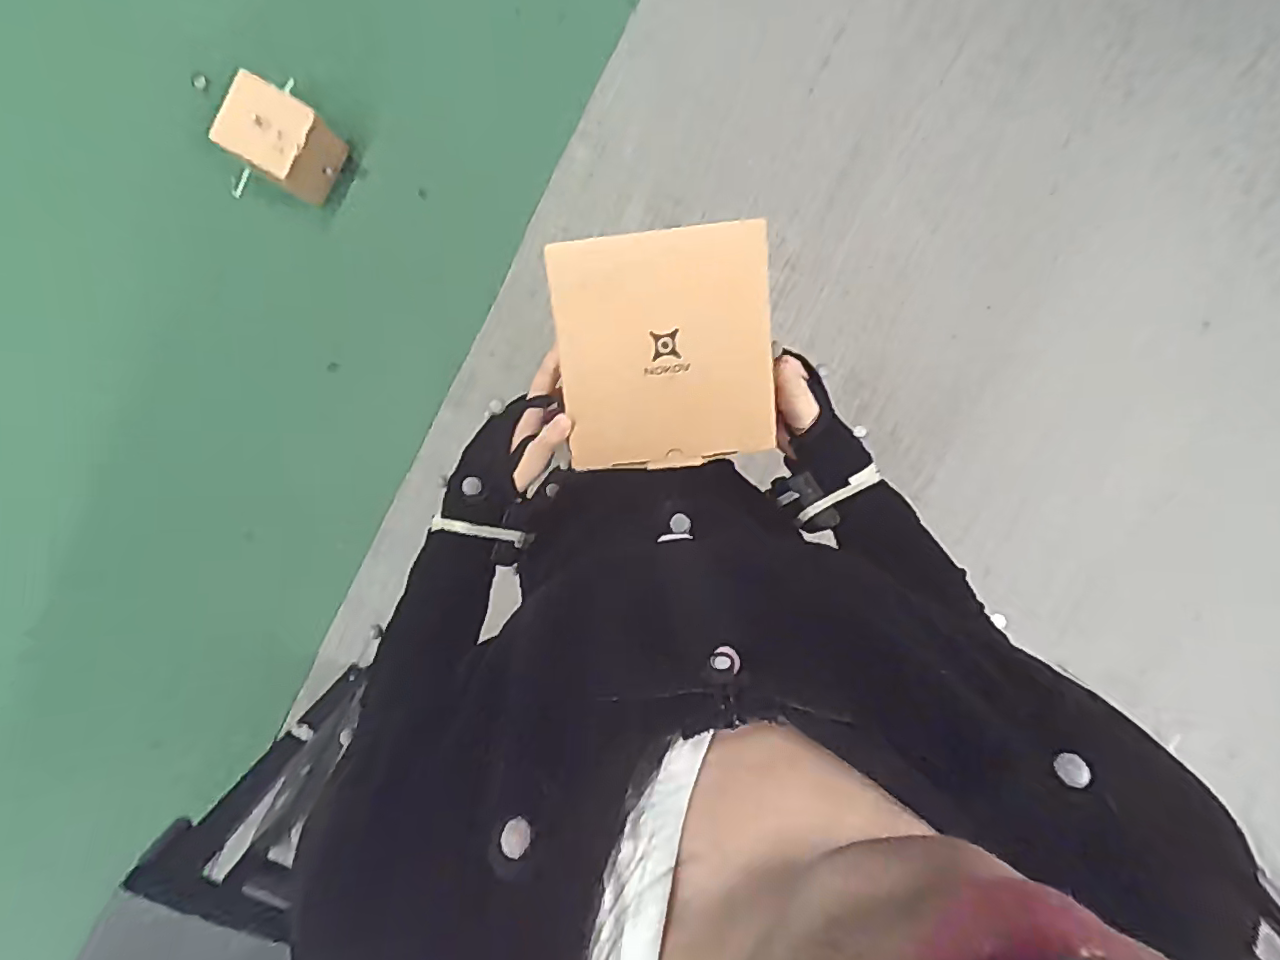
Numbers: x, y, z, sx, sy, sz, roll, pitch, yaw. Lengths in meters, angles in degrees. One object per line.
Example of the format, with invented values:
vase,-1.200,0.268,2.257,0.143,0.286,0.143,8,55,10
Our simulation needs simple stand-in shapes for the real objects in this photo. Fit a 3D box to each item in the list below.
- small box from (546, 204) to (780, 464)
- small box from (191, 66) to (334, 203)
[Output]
small box,0.018,-0.123,0.479,0.168,0.176,0.179,-7,105,0
small box,-0.842,-0.766,1.224,0.179,0.176,0.168,28,92,-8
